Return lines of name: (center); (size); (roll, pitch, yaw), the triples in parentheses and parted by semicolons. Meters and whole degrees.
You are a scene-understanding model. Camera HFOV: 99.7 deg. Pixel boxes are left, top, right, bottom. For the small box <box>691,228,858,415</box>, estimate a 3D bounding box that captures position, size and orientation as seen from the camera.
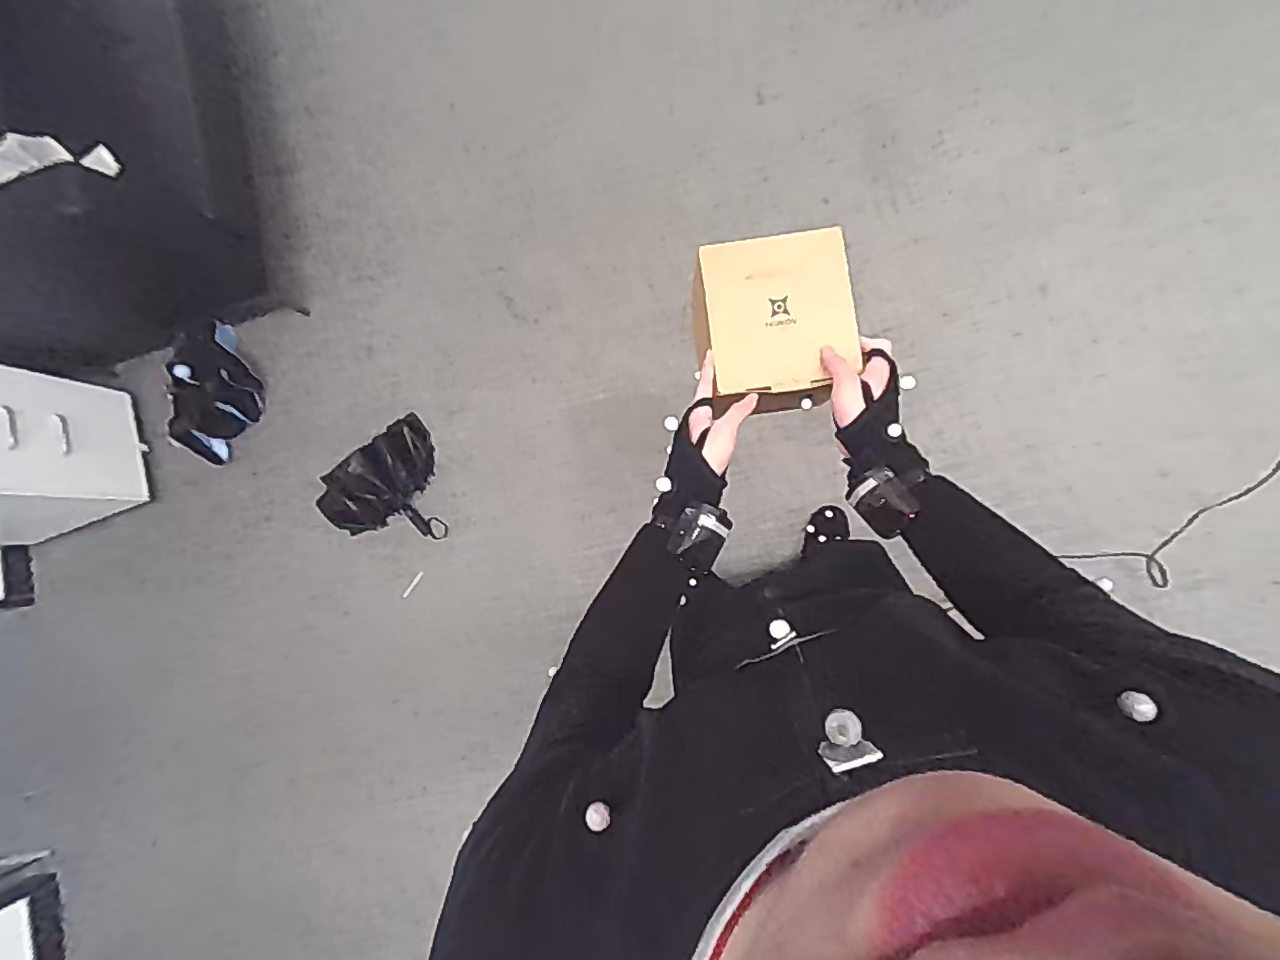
small box: (0.157, -0.184, 0.685); (0.168, 0.176, 0.179); (-8, 86, 3)
